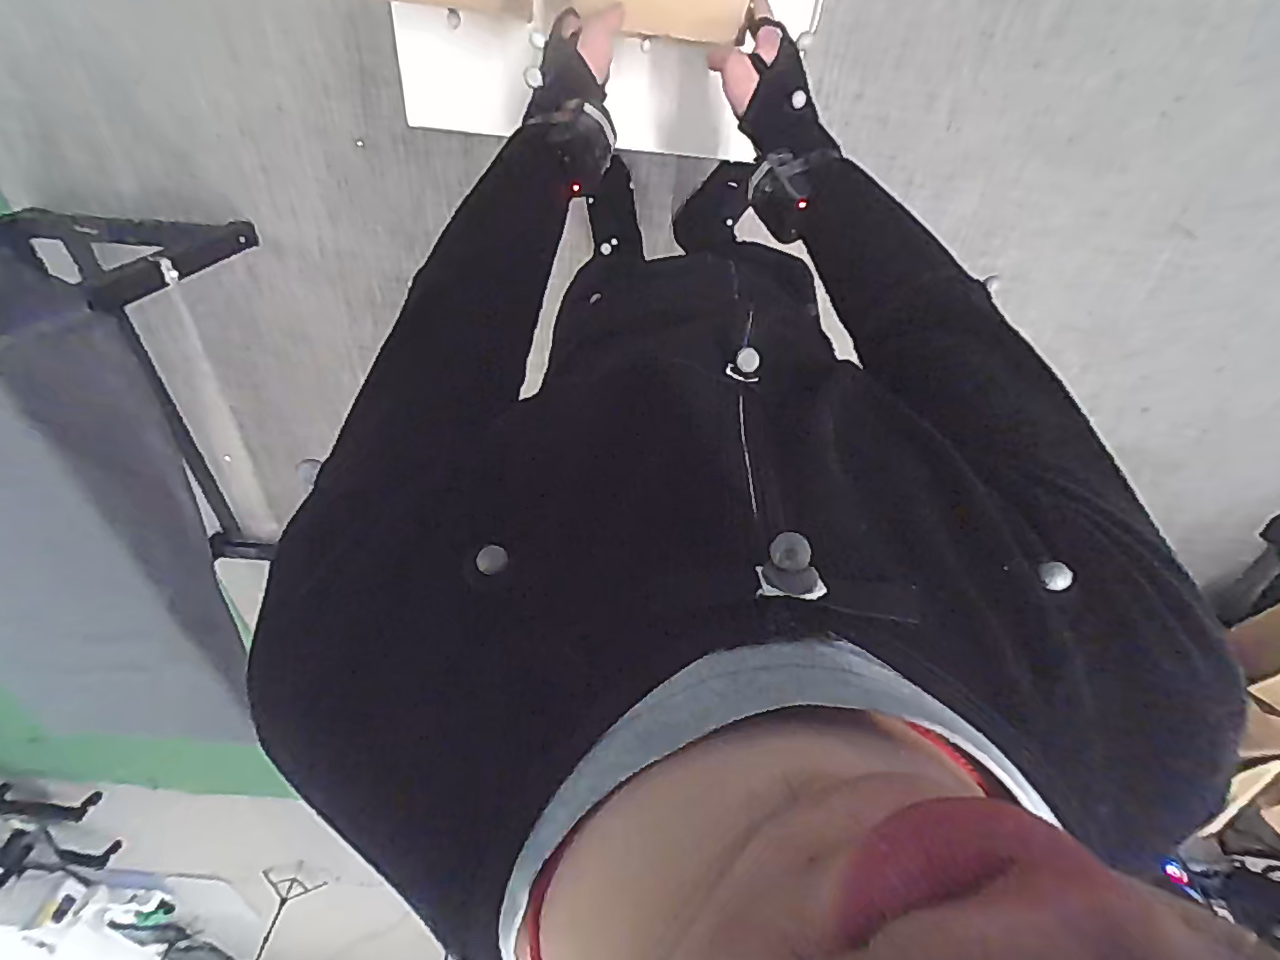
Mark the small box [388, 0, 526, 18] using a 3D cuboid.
[{"bbox_3d":[-0.207,-0.575,0.534,0.179,0.176,0.168,5,128,-3],"label":"small box"}]
